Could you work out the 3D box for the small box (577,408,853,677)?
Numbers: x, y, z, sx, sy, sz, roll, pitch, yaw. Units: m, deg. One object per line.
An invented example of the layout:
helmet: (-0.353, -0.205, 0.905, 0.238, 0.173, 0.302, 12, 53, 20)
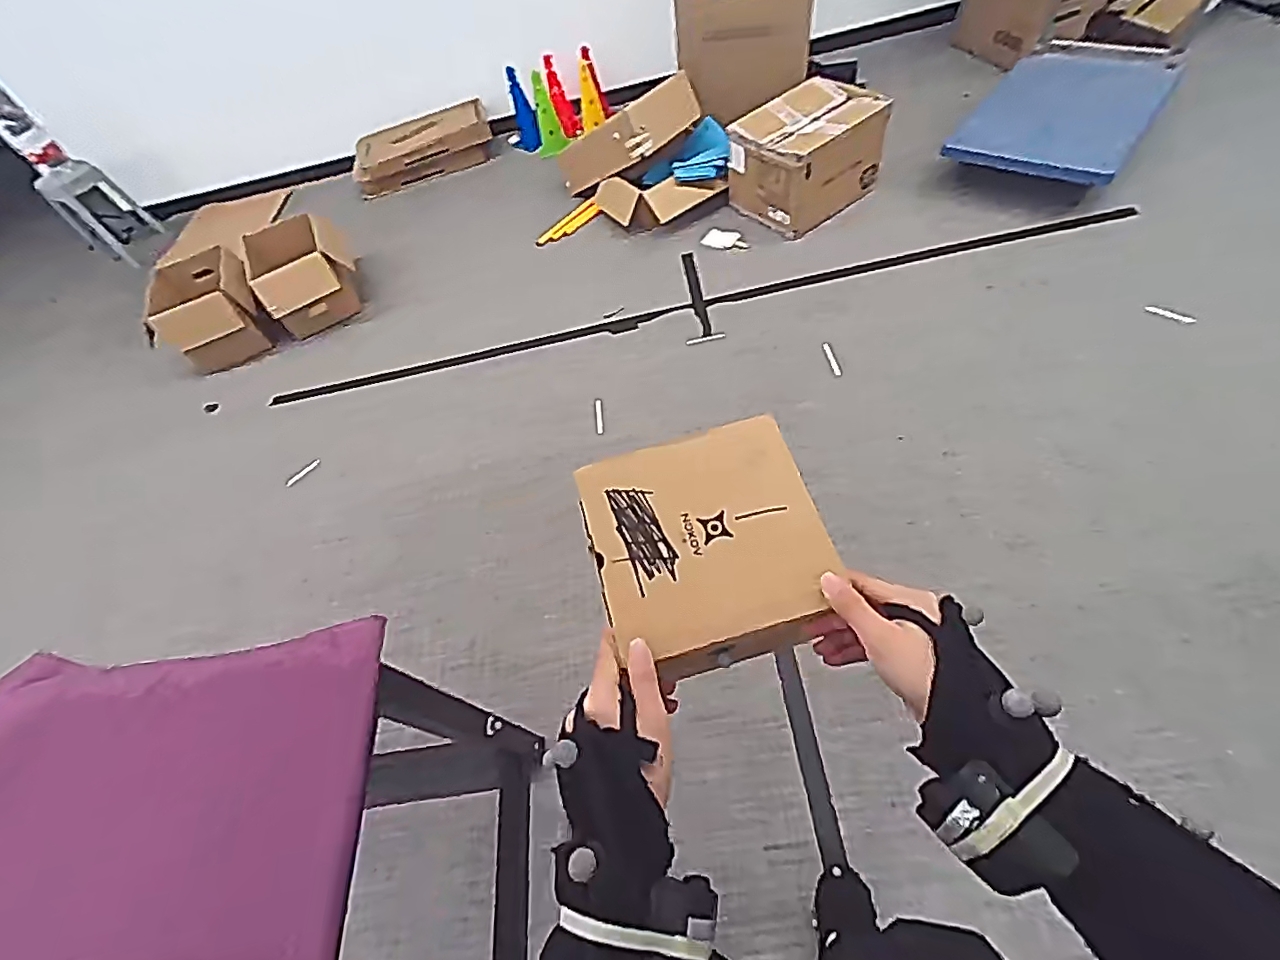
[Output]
small box: (0.058, 0.067, 0.487, 0.179, 0.176, 0.168, -16, 64, -3)
